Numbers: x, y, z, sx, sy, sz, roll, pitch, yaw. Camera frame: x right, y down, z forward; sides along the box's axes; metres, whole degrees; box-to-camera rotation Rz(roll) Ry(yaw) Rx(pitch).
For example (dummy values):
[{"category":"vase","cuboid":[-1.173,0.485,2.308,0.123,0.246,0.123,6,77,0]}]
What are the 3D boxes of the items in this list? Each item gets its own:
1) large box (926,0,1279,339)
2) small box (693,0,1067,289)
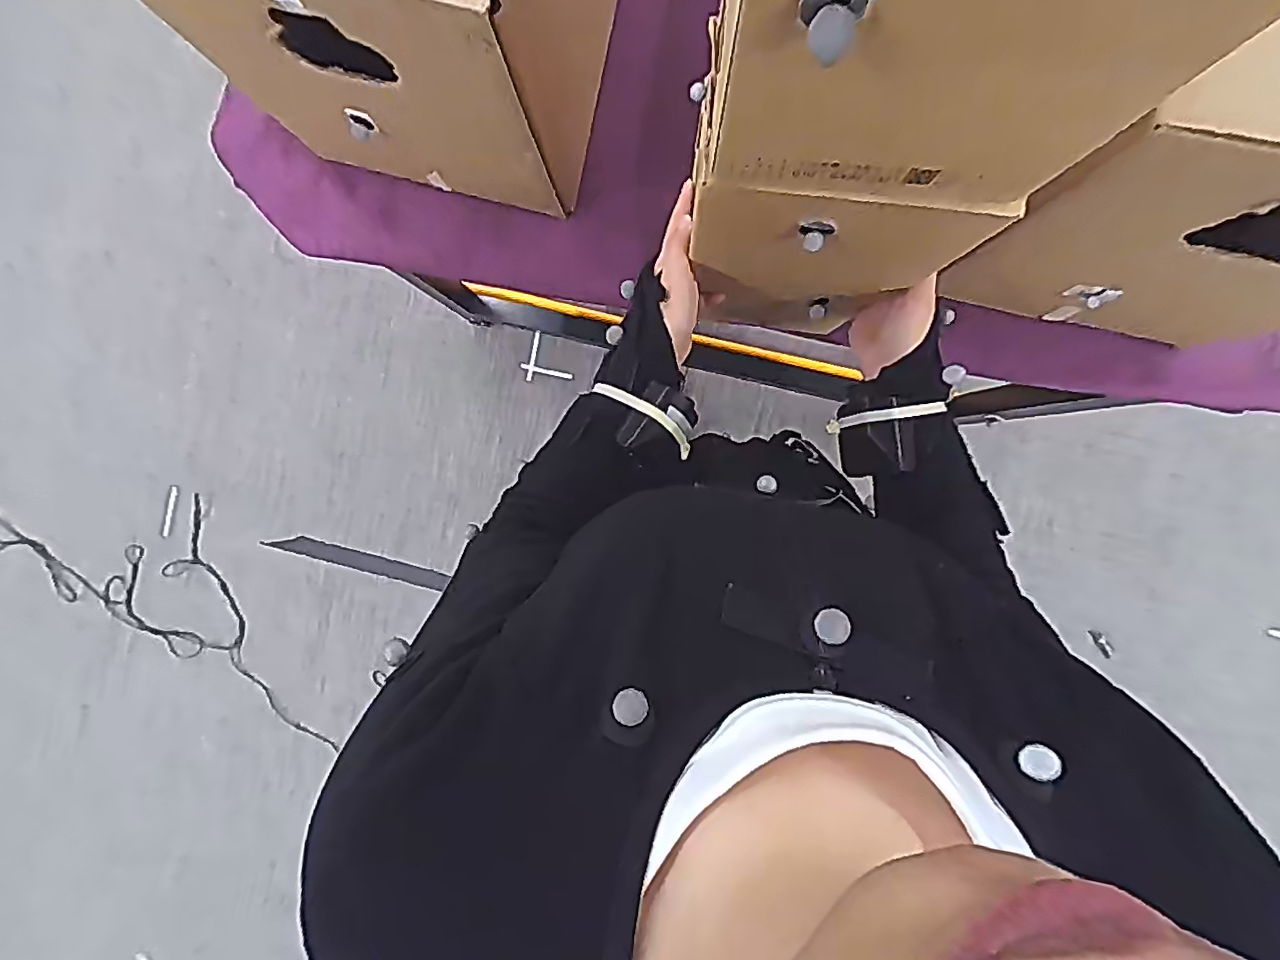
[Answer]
[{"category":"large box","cuboid":[0.496,-0.371,0.449,0.320,0.320,0.408,13,92,2]},{"category":"small box","cuboid":[0.133,-0.238,0.360,0.179,0.176,0.168,7,94,1]}]
